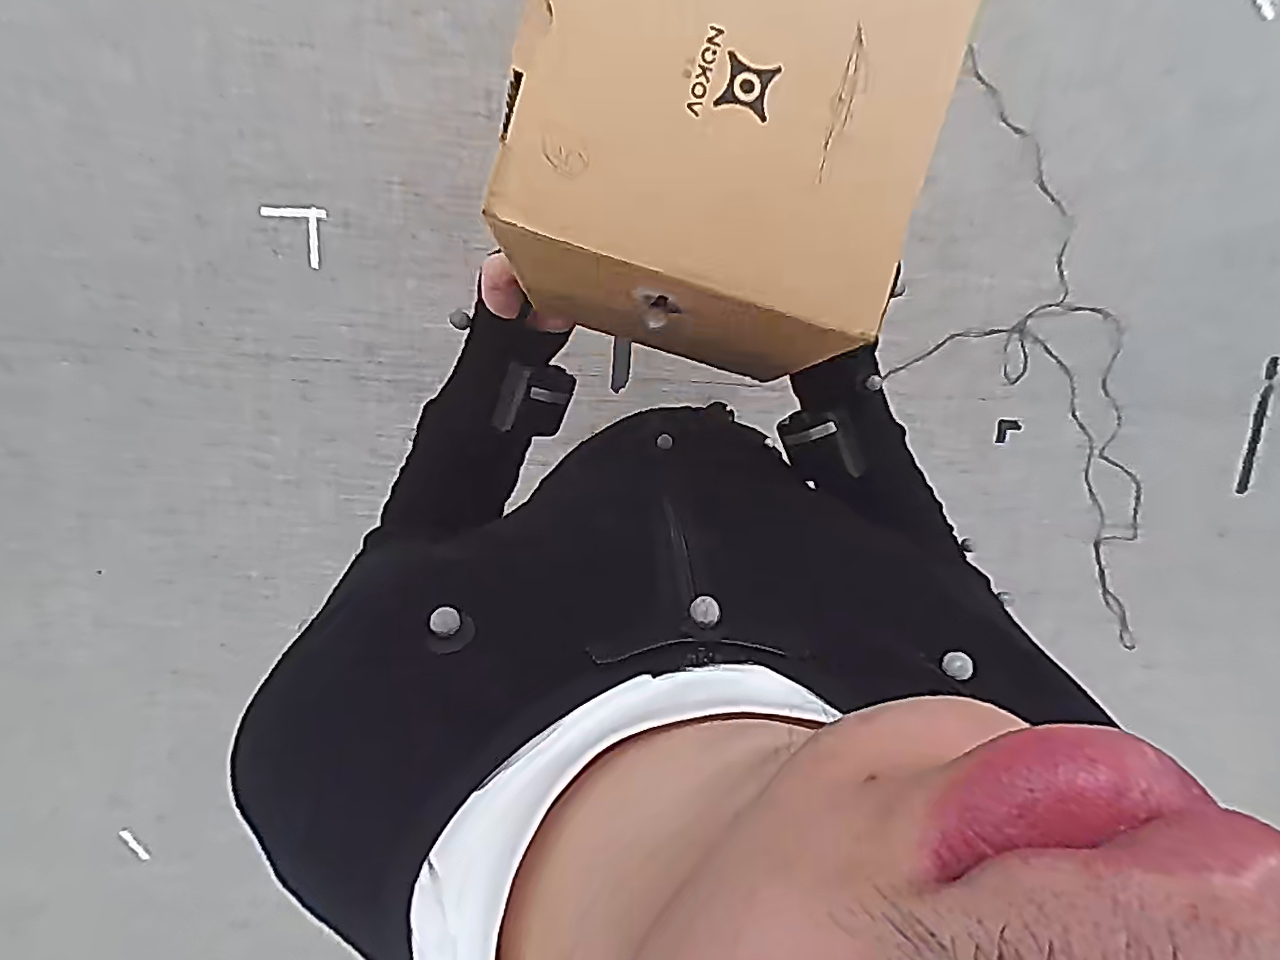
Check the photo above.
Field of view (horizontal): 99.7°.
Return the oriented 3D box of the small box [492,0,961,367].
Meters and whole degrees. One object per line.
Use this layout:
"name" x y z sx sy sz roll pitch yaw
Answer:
"small box" 0.037 -0.173 0.313 0.179 0.176 0.168 15 93 -3
